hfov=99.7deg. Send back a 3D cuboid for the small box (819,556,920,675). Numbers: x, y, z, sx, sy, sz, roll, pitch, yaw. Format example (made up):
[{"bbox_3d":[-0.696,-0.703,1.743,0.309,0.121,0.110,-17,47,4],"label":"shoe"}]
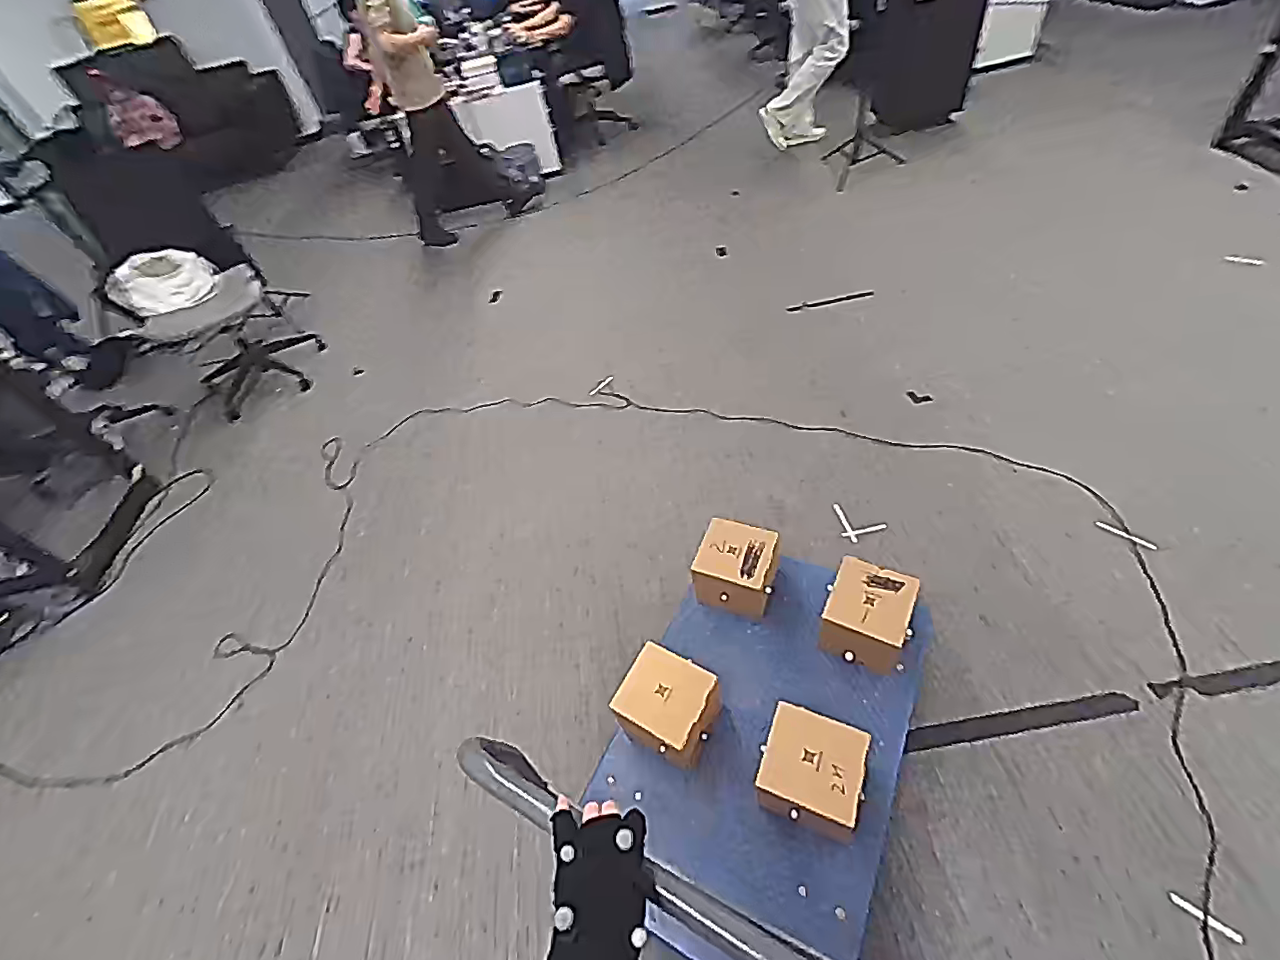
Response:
[{"bbox_3d":[0.518,0.312,1.239,0.168,0.176,0.179,18,57,26],"label":"small box"}]

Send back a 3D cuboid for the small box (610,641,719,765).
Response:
[{"bbox_3d":[0.060,0.492,1.185,0.179,0.176,0.168,21,56,25],"label":"small box"}]

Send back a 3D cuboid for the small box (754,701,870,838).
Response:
[{"bbox_3d":[0.332,0.569,1.057,0.179,0.176,0.168,14,54,23],"label":"small box"}]
